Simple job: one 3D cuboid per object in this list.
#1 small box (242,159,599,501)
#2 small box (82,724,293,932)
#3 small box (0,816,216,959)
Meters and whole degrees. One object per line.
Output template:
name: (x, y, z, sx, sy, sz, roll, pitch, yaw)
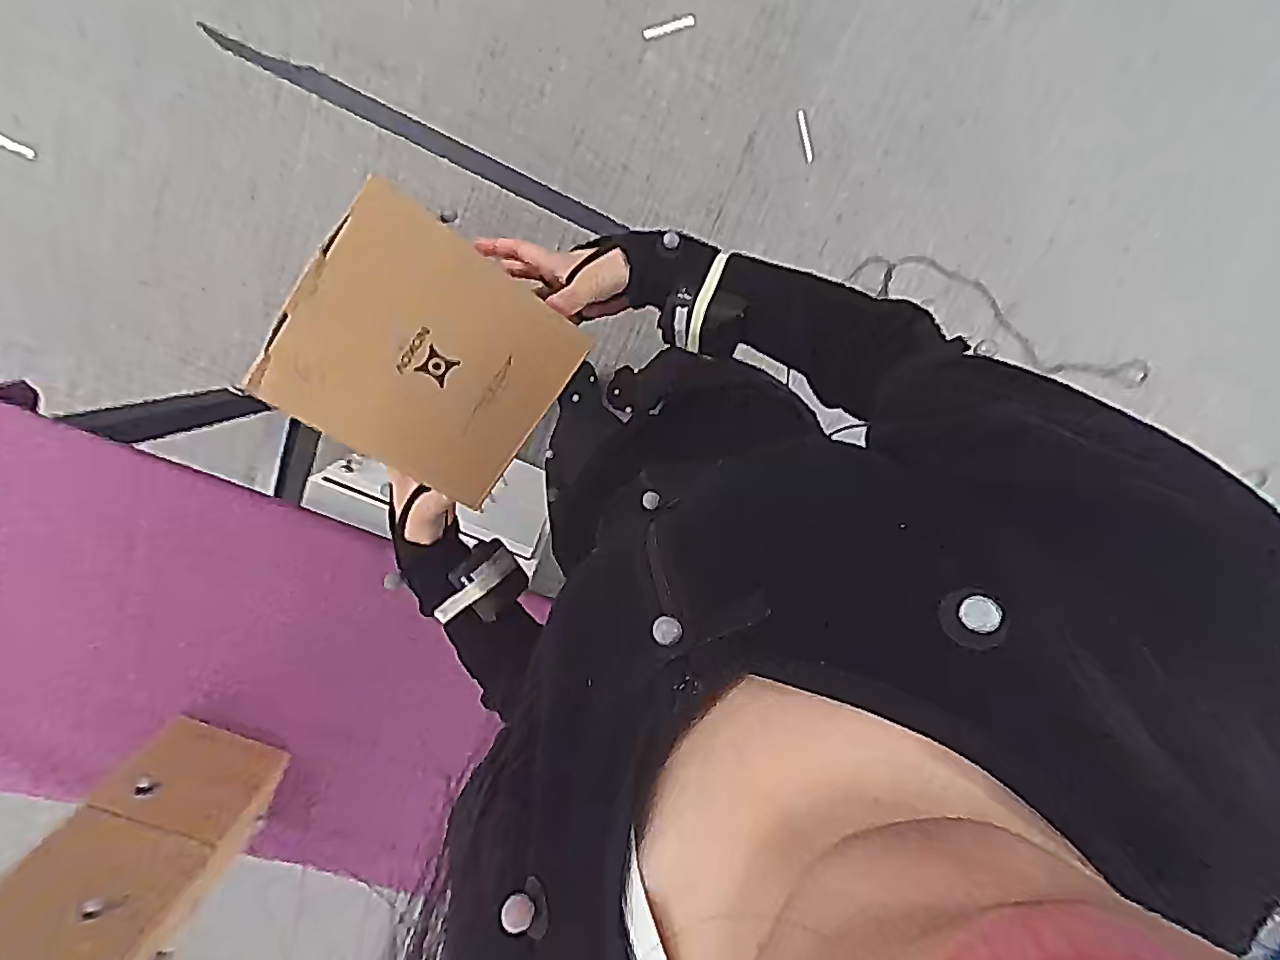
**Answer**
small box: (-0.165, -0.117, 0.443, 0.179, 0.176, 0.168, 35, 99, -28)
small box: (-0.657, 0.490, 0.785, 0.179, 0.176, 0.168, 25, 103, -9)
small box: (-0.650, 0.535, 0.627, 0.179, 0.176, 0.168, 27, 102, -10)
